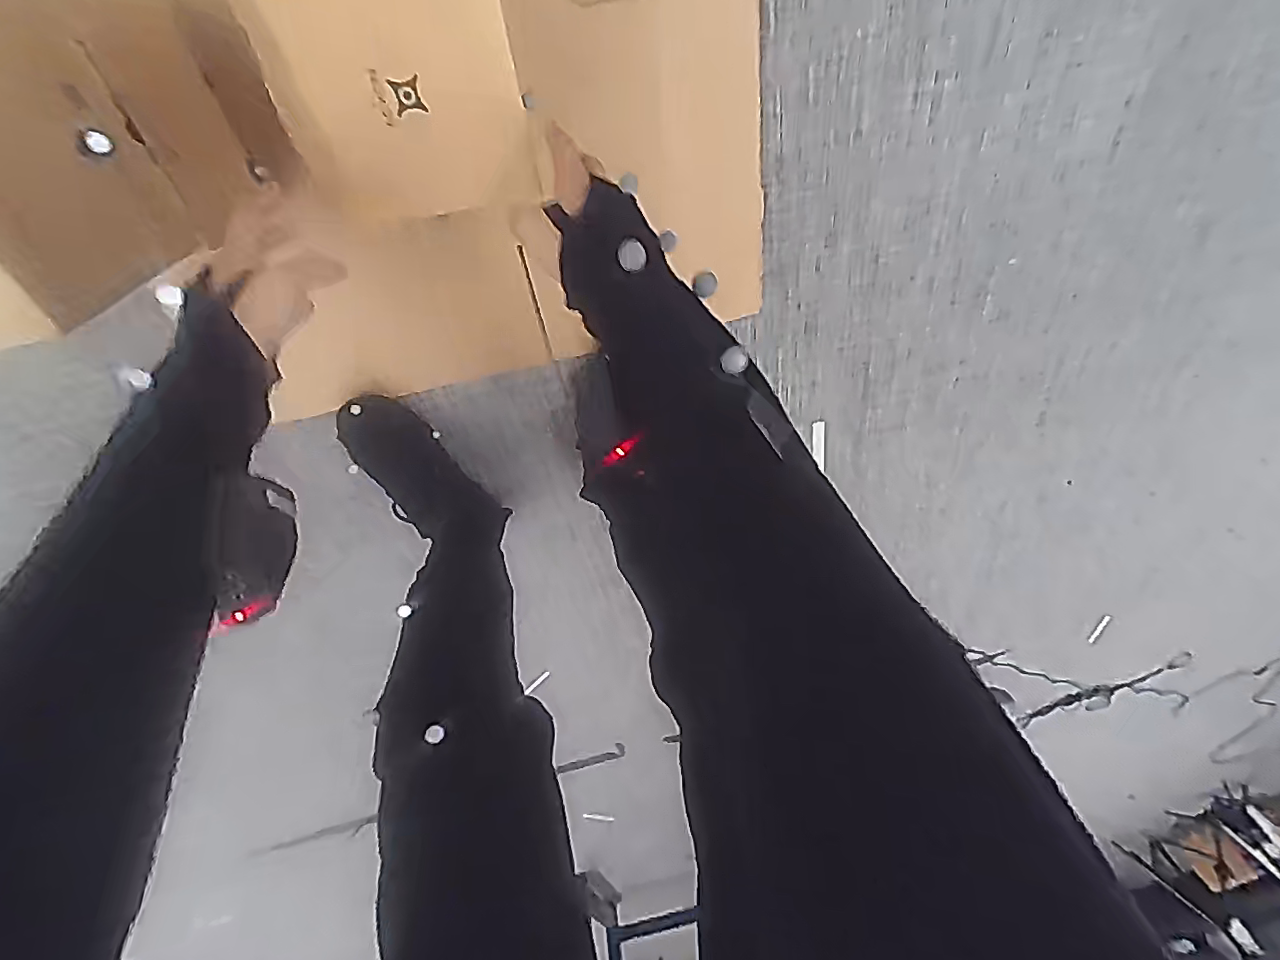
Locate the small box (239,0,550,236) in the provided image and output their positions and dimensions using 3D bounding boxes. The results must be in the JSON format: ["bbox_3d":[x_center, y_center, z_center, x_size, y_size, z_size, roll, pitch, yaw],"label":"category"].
[{"bbox_3d":[-0.185,-0.332,0.464,0.179,0.176,0.168,-12,131,-3],"label":"small box"}]
